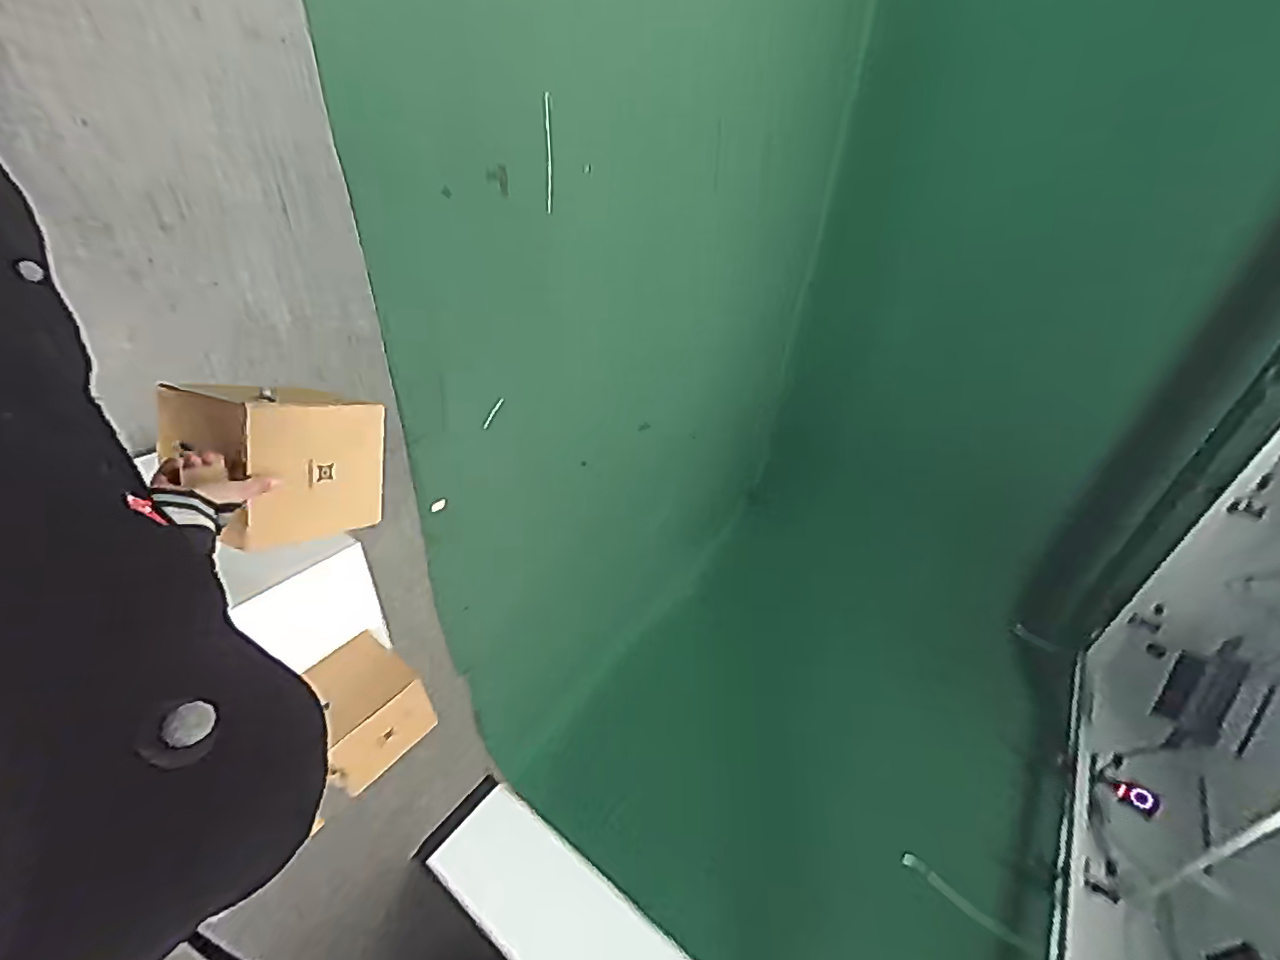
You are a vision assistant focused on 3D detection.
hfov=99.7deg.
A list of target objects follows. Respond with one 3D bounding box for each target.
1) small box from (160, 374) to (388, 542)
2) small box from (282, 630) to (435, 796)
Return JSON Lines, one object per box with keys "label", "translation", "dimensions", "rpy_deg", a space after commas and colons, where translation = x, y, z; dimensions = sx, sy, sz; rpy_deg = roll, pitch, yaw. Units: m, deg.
{"label": "small box", "translation": [-0.449, -0.040, 0.679], "dimensions": [0.179, 0.176, 0.168], "rpy_deg": [-21, 121, -63]}
{"label": "small box", "translation": [-0.508, 0.412, 0.976], "dimensions": [0.179, 0.176, 0.168], "rpy_deg": [-39, 144, -40]}
